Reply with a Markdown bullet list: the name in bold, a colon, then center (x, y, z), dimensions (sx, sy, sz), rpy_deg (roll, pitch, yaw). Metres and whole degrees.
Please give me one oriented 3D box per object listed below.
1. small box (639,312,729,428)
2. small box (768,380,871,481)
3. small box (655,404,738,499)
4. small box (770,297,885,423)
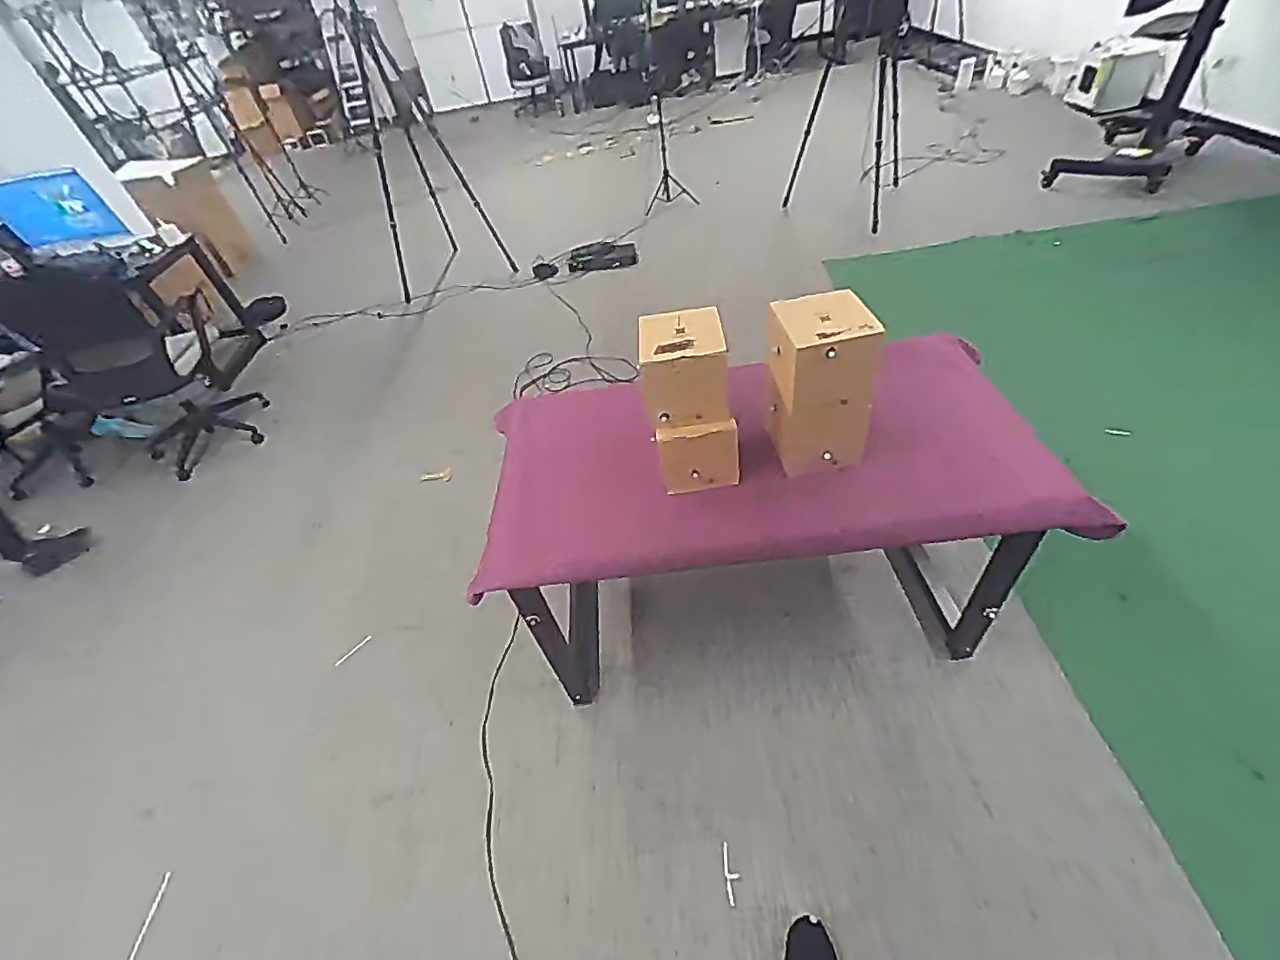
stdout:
- **small box**: center (0.091, -0.219, 1.118), dimensions (0.168, 0.176, 0.179), rpy_deg (-6, 44, 6)
- **small box**: center (0.384, -0.122, 1.193), dimensions (0.168, 0.176, 0.179), rpy_deg (-10, 44, 2)
- **small box**: center (0.122, -0.084, 1.211), dimensions (0.168, 0.176, 0.179), rpy_deg (-9, 45, 2)
- **small box**: center (0.361, -0.239, 1.079), dimensions (0.168, 0.176, 0.179), rpy_deg (-11, 43, 1)
